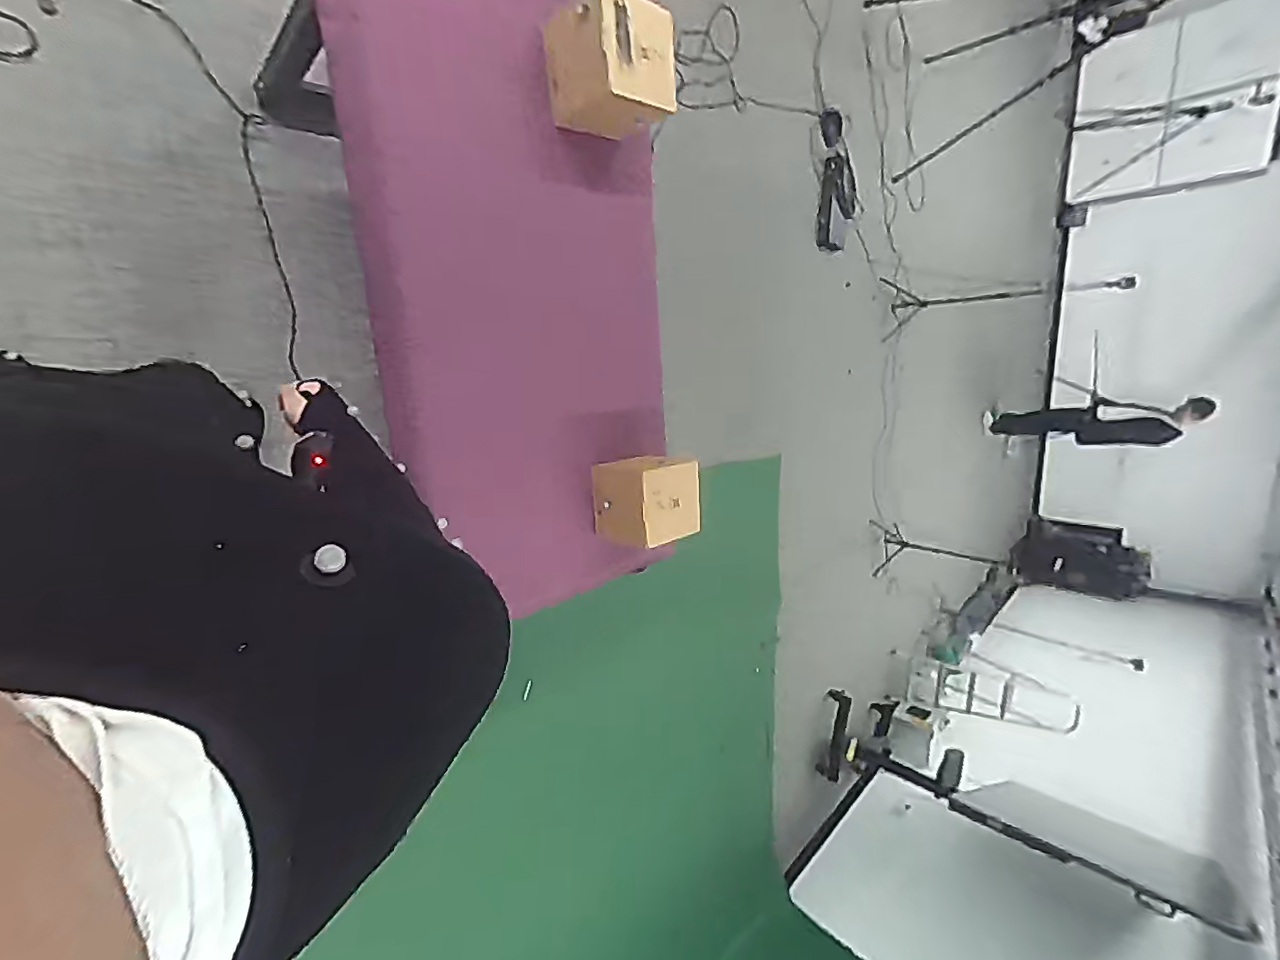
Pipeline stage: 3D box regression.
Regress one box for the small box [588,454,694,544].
[{"bbox_3d":[0.004,0.035,1.229,0.179,0.176,0.168,-13,104,-42],"label":"small box"}]
